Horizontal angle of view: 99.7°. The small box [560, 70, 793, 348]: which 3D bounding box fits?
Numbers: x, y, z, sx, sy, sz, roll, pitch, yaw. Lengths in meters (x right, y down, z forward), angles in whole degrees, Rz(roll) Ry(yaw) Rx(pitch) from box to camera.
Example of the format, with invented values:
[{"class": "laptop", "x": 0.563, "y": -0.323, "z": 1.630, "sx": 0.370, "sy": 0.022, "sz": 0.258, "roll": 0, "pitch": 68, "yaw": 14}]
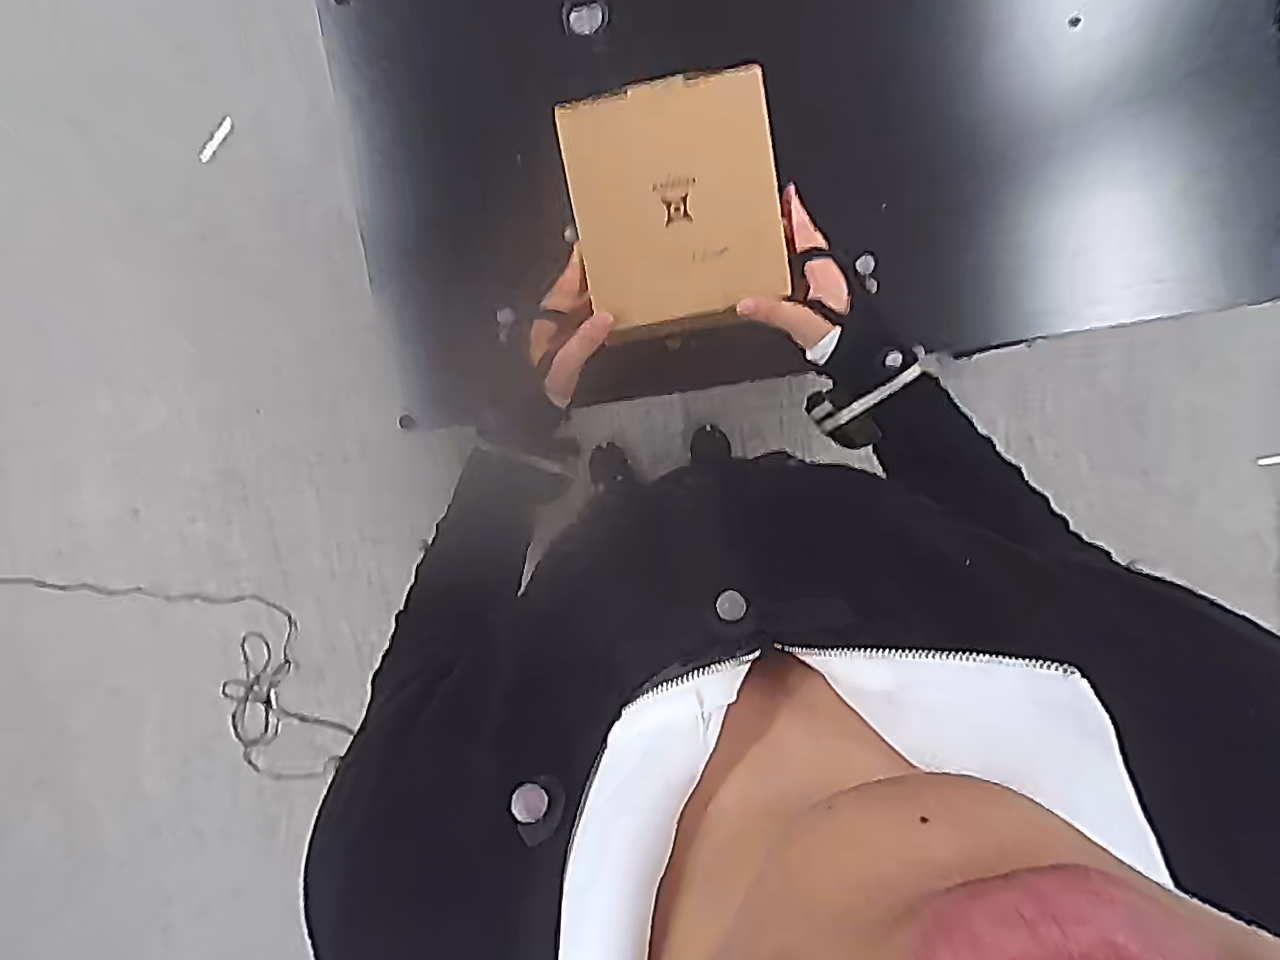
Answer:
[{"class": "small box", "x": 0.029, "y": -0.230, "z": 0.507, "sx": 0.168, "sy": 0.176, "sz": 0.179, "roll": -10, "pitch": 100, "yaw": 2}]
